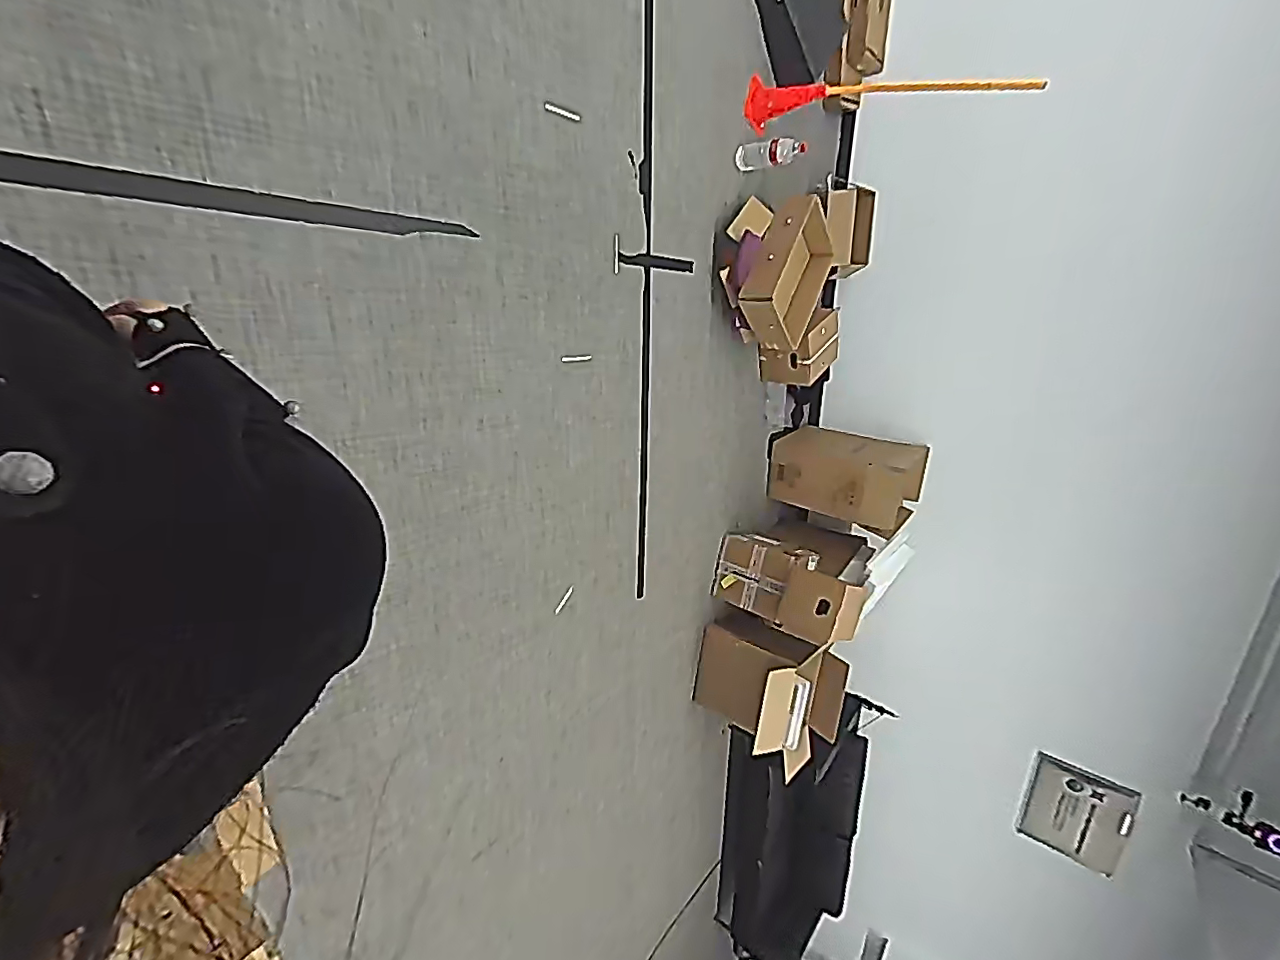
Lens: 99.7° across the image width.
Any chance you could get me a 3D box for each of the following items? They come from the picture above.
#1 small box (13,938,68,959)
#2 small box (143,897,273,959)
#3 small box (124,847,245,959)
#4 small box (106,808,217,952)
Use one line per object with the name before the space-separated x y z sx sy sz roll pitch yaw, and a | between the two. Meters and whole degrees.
small box | -1.291 1.119 1.111 0.179 0.176 0.168 -27 124 -46
small box | -0.859 1.000 1.079 0.179 0.176 0.168 -21 117 -50
small box | -0.986 0.962 1.176 0.179 0.176 0.168 -16 115 -50
small box | -1.115 0.928 1.271 0.179 0.176 0.168 -18 116 -50
